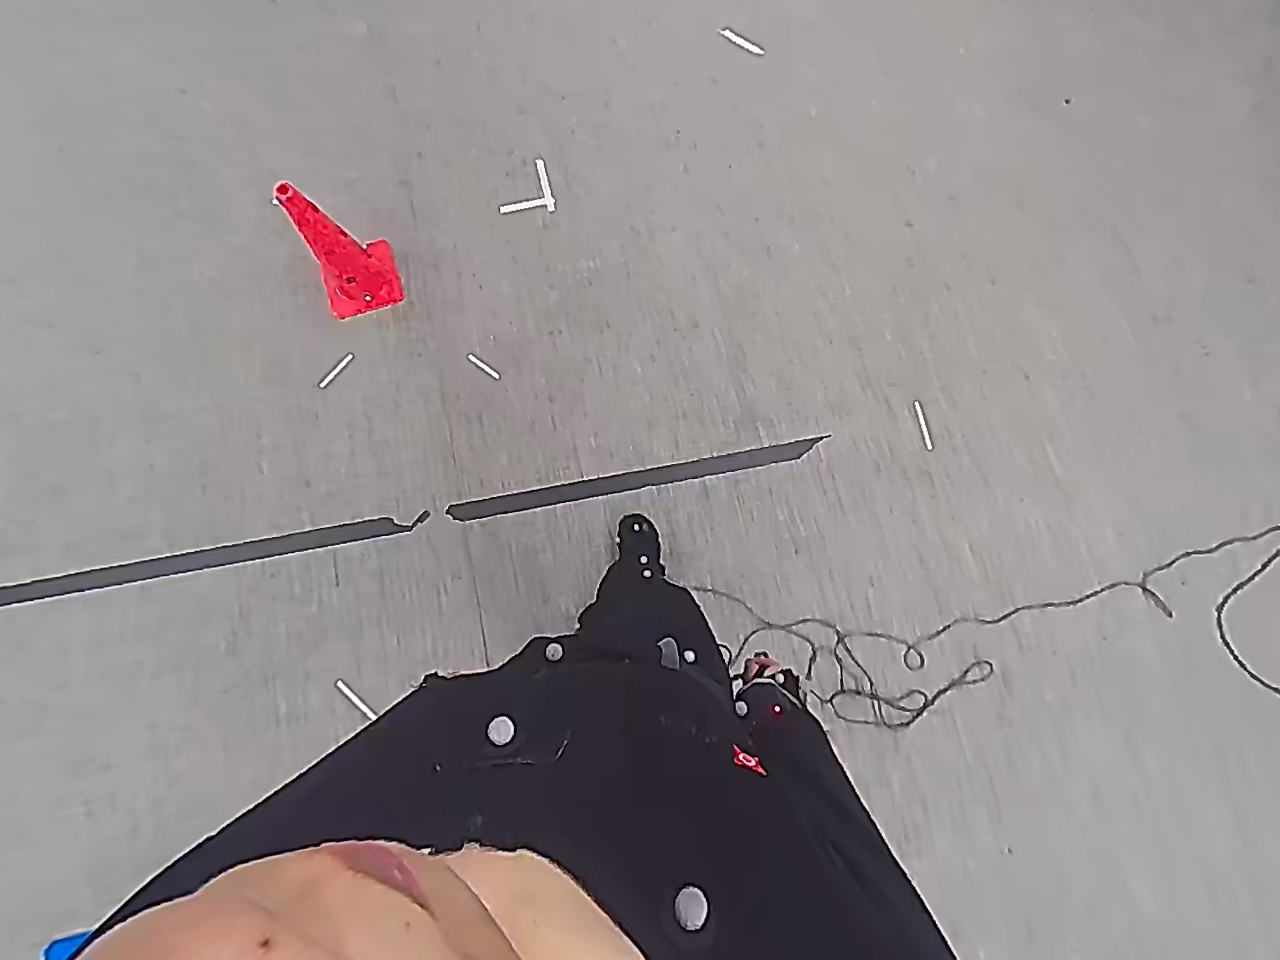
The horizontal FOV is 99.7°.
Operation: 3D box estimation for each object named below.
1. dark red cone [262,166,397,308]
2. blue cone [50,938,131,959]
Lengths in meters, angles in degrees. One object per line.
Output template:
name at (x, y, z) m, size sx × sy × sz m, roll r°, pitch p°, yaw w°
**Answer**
dark red cone at (-0.765, -0.595, 1.296) m, size 0.202 × 0.394 × 0.201 m, roll -18°, pitch 82°, yaw -5°
blue cone at (-1.195, 1.089, 1.016) m, size 0.193 × 0.380 × 0.192 m, roll -10°, pitch 82°, yaw -3°
